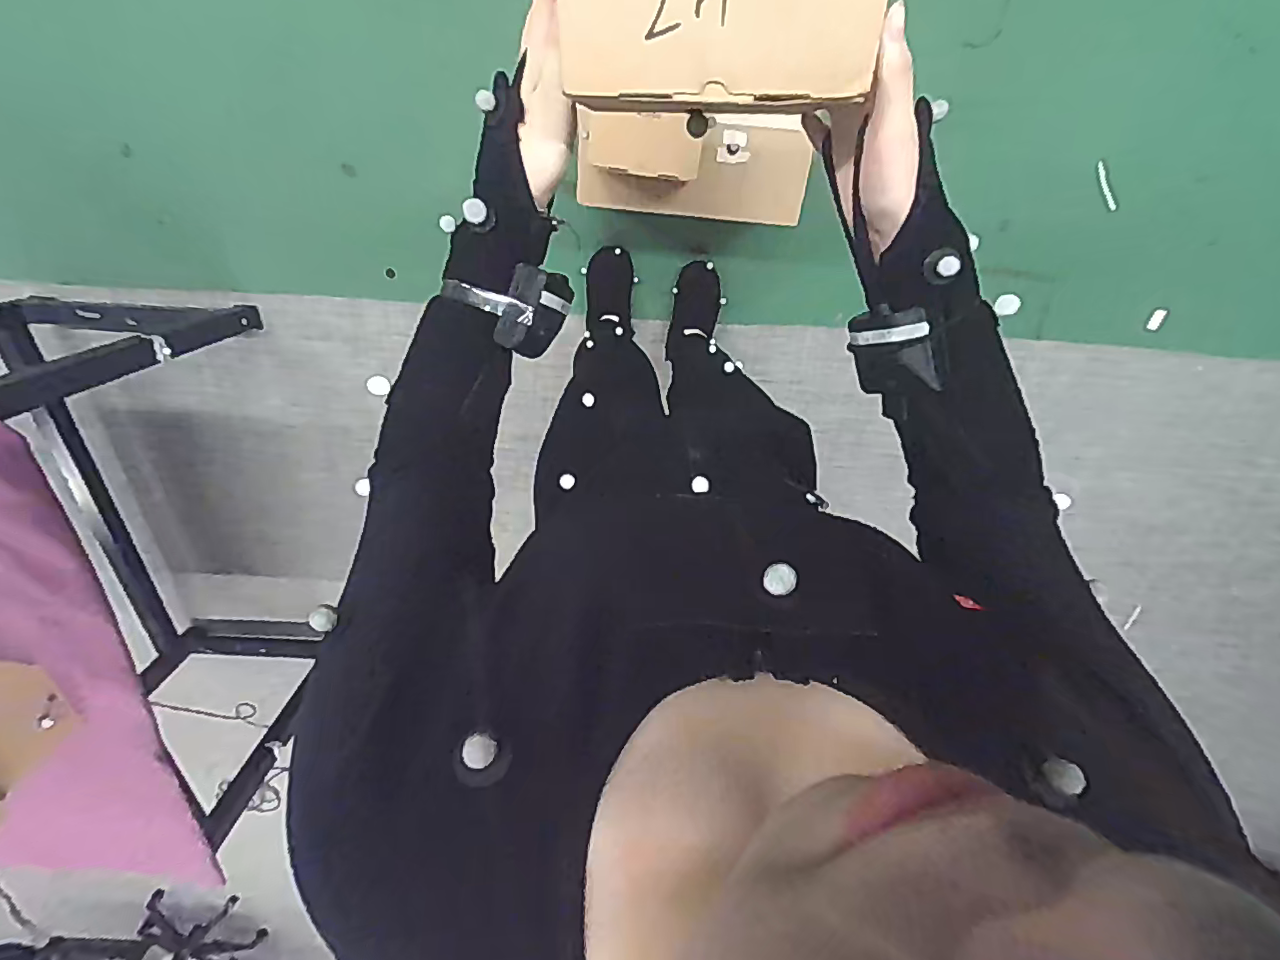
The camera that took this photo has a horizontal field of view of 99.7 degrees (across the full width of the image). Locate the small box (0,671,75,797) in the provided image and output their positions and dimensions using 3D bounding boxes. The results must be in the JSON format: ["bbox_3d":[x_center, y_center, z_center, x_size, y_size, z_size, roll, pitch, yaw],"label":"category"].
[{"bbox_3d":[-1.143,0.438,0.912,0.179,0.176,0.168,4,119,-1],"label":"small box"}]

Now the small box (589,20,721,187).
[{"bbox_3d":[0.017,-0.553,0.817,0.168,0.176,0.179,6,119,-3],"label":"small box"}]

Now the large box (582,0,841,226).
[{"bbox_3d":[0.104,-0.673,1.027,0.408,0.320,0.320,4,119,-1],"label":"large box"}]
